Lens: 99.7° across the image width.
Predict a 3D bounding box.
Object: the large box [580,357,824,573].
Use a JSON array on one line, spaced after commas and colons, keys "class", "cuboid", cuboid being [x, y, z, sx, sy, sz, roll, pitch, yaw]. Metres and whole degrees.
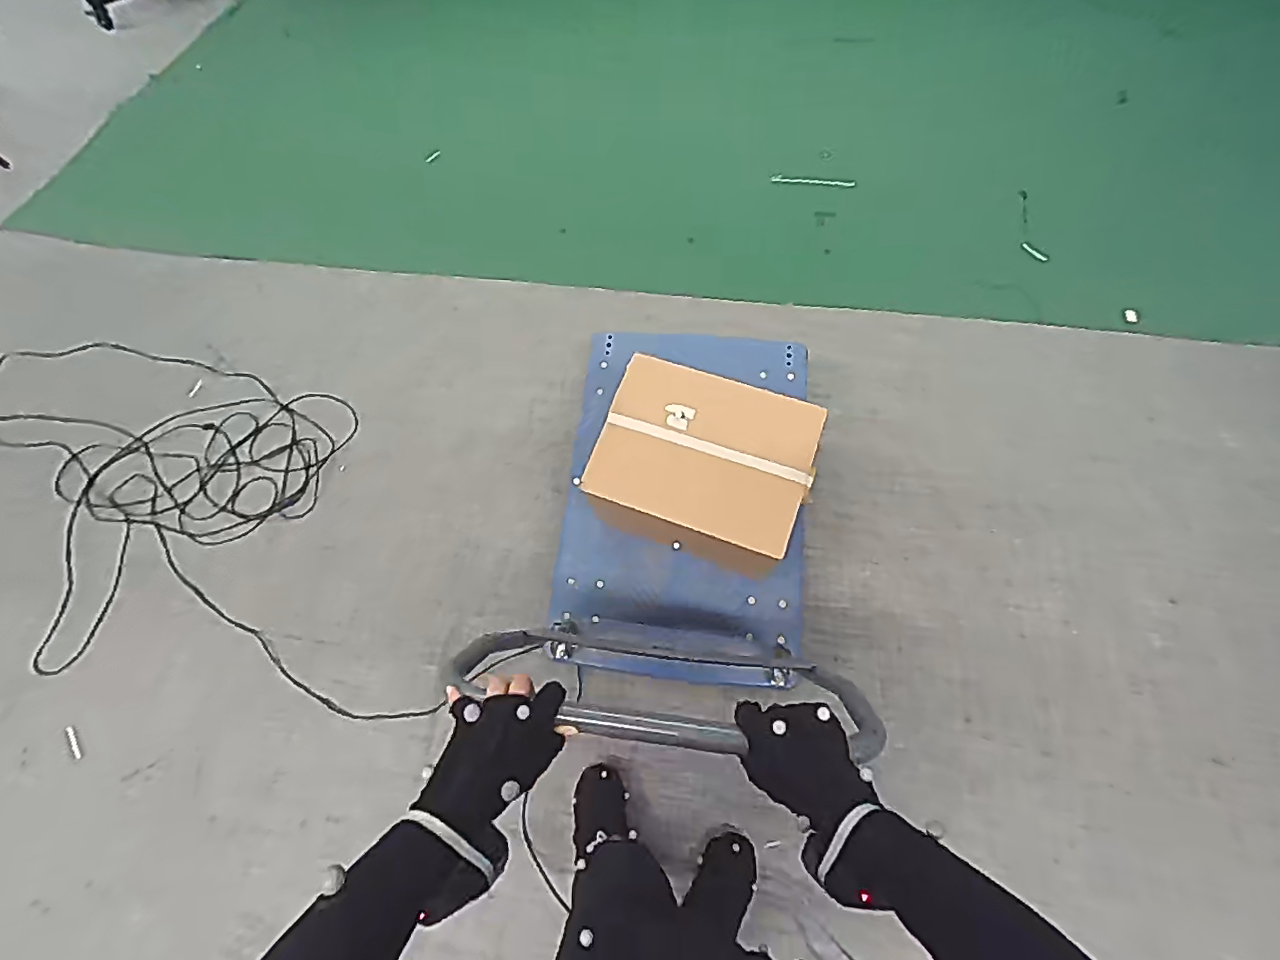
[{"class": "large box", "cuboid": [0.137, -0.017, 1.179, 0.408, 0.320, 0.320, 19, 76, 11]}]
